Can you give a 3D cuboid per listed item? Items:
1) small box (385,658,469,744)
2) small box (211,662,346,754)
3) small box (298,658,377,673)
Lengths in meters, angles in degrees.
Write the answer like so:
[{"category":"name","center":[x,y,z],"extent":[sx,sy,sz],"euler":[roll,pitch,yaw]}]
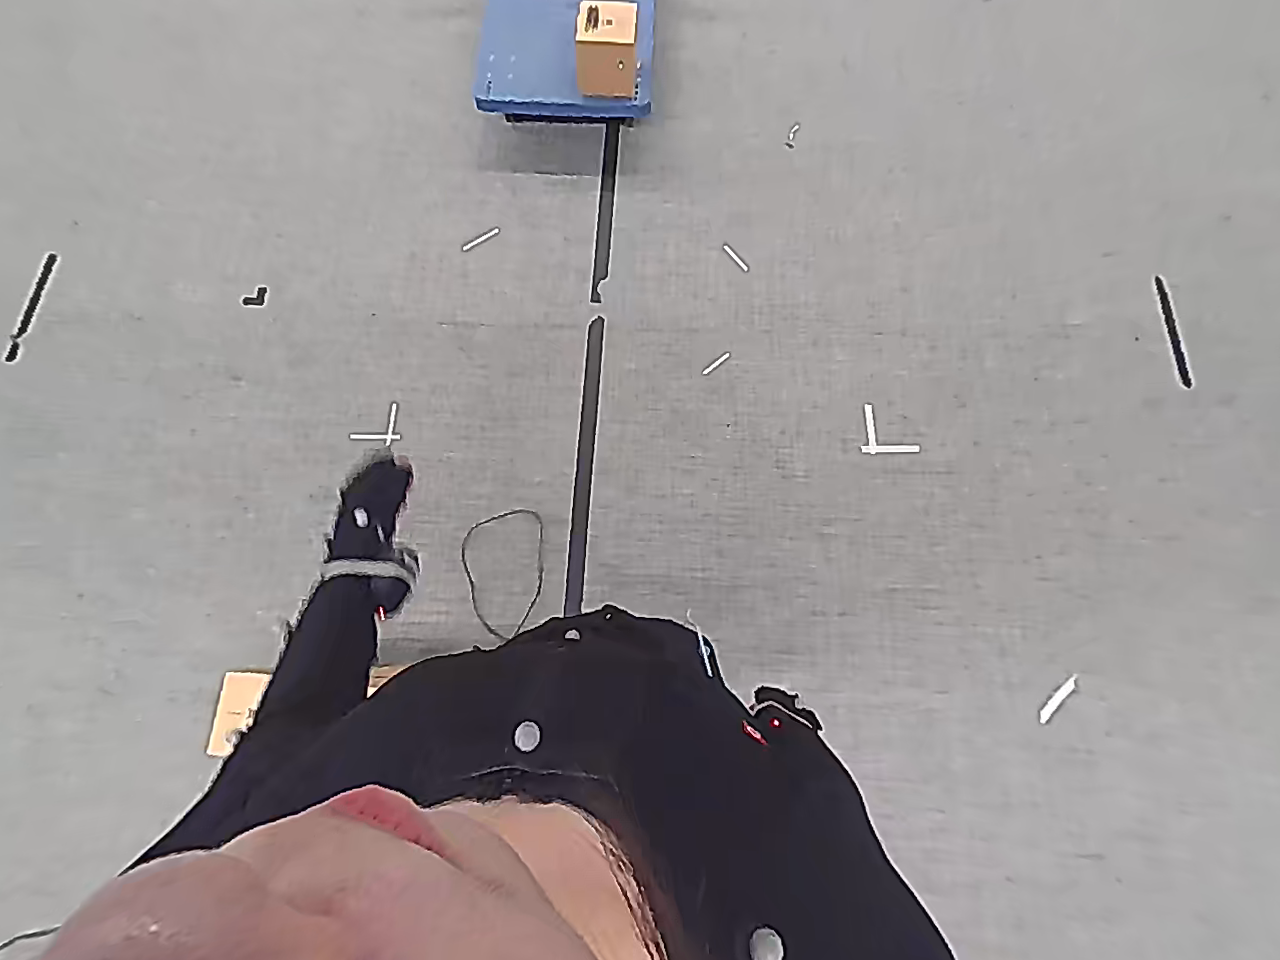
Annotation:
[{"category":"small box","center":[-0.547,0.554,1.373],"extent":[0.168,0.176,0.179],"euler":[3,74,0]},{"category":"small box","center":[-0.799,0.504,1.217],"extent":[0.179,0.176,0.168],"euler":[3,75,2]},{"category":"small box","center":[-0.798,0.549,1.375],"extent":[0.179,0.176,0.168],"euler":[4,75,2]}]
